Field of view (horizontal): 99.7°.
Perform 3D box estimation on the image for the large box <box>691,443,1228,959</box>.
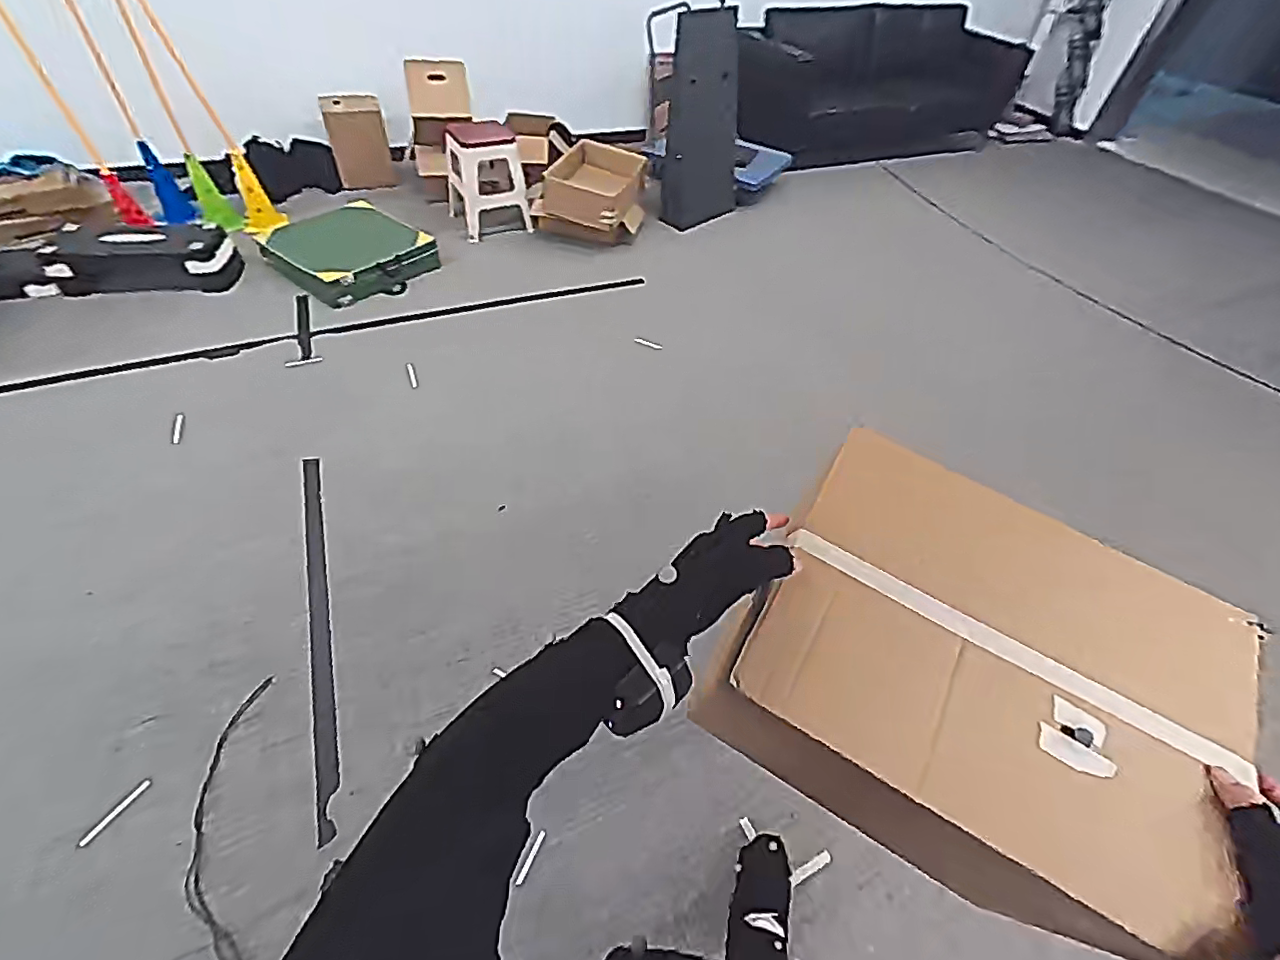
[{"bbox_3d":[0.318,0.228,0.635,0.408,0.320,0.320,28,65,12],"label":"large box"}]
